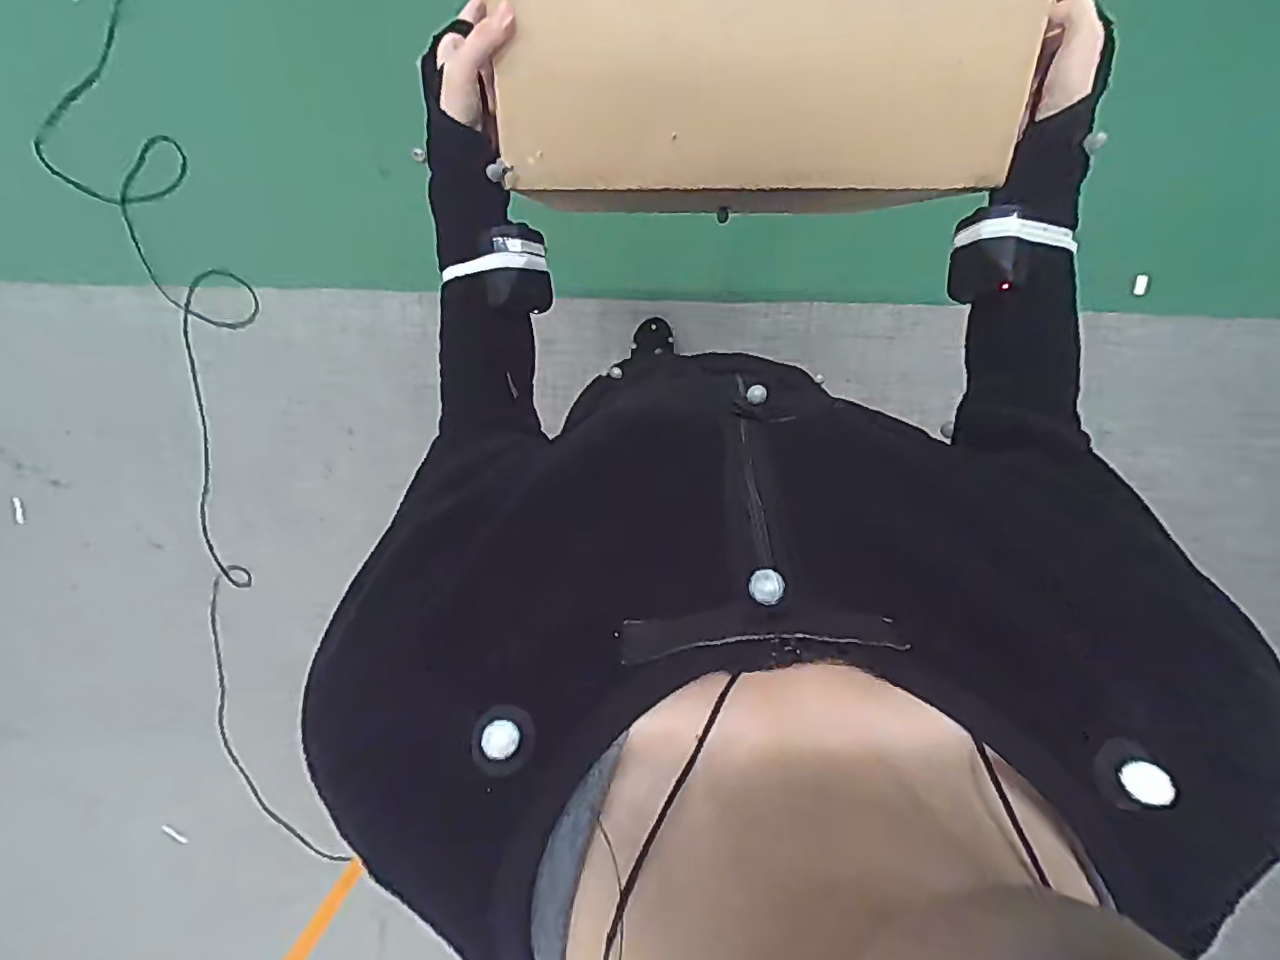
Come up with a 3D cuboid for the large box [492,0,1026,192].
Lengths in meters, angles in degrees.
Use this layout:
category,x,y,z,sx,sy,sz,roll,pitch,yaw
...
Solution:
category,x,y,z,sx,sy,sz,roll,pitch,yaw
large box,0.090,-0.457,0.516,0.408,0.320,0.320,0,114,0
